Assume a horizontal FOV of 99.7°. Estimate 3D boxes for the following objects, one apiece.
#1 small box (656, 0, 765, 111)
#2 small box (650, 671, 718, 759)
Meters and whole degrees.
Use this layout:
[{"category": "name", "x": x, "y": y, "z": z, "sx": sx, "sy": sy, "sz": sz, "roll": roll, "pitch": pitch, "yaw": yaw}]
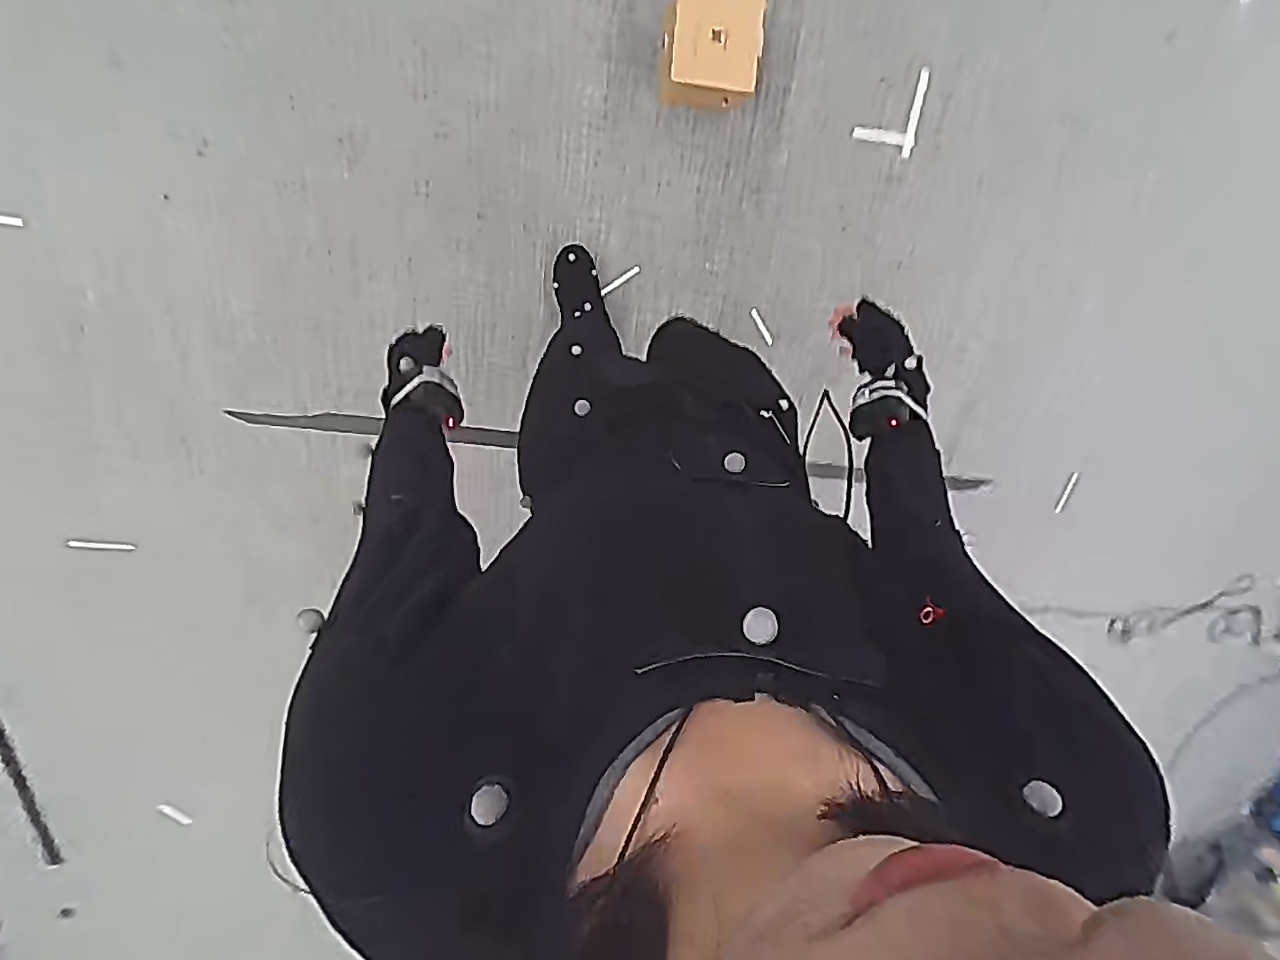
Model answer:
[{"category": "small box", "x": 0.137, "y": -0.886, "z": 1.121, "sx": 0.179, "sy": 0.176, "sz": 0.168, "roll": 1, "pitch": 113, "yaw": -8}, {"category": "small box", "x": 0.125, "y": 0.697, "z": 1.612, "sx": 0.168, "sy": 0.176, "sz": 0.179, "roll": 1, "pitch": 115, "yaw": -8}]
